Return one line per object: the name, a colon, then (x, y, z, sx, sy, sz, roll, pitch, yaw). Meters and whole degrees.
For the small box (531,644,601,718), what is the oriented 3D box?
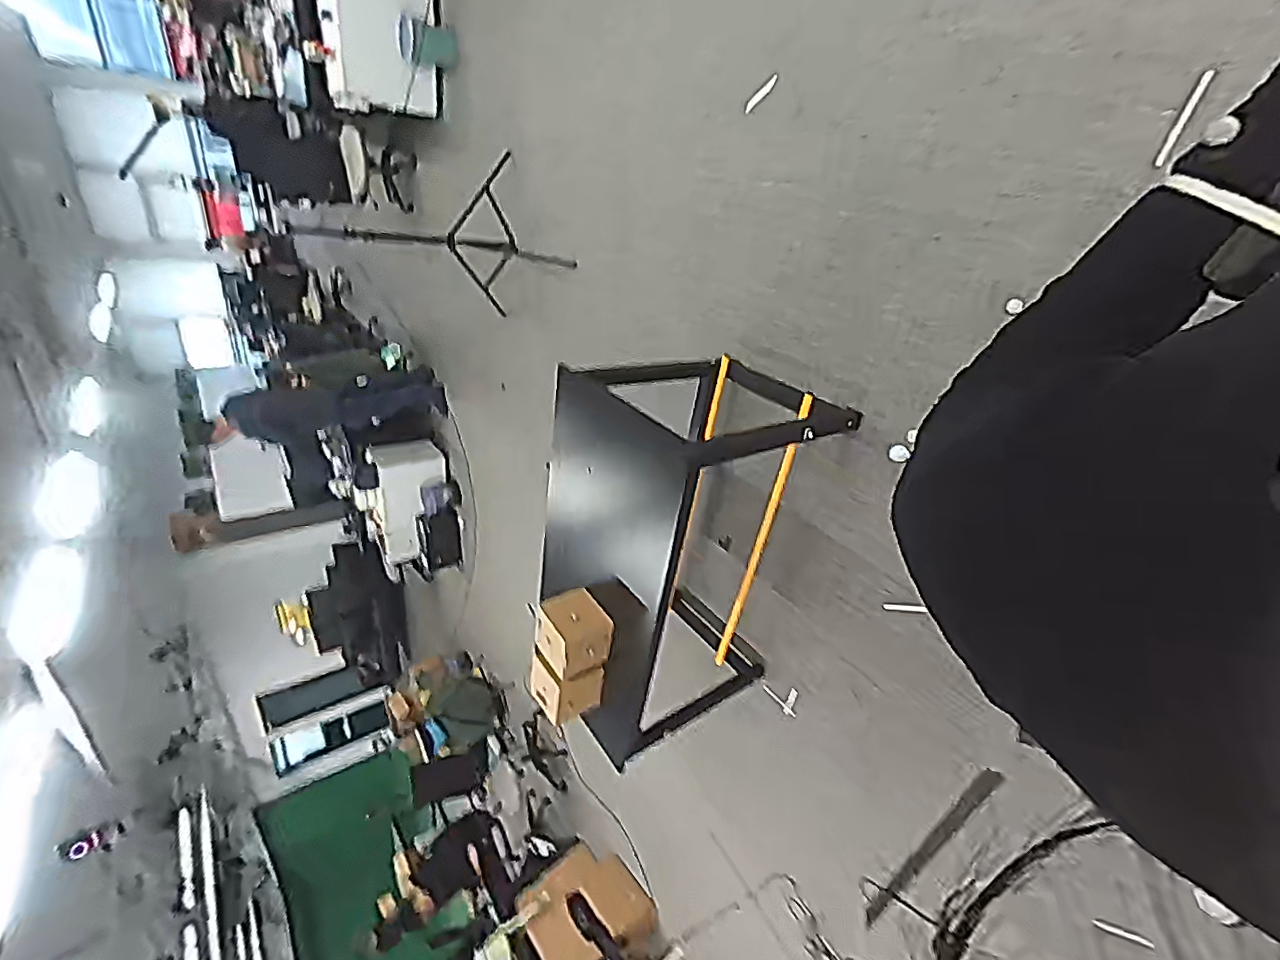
small box: (-0.243, 0.636, 1.782, 0.168, 0.176, 0.179, 37, 128, 41)

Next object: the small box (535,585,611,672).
small box: (-0.208, 0.451, 1.676, 0.179, 0.176, 0.168, 40, 131, 39)
